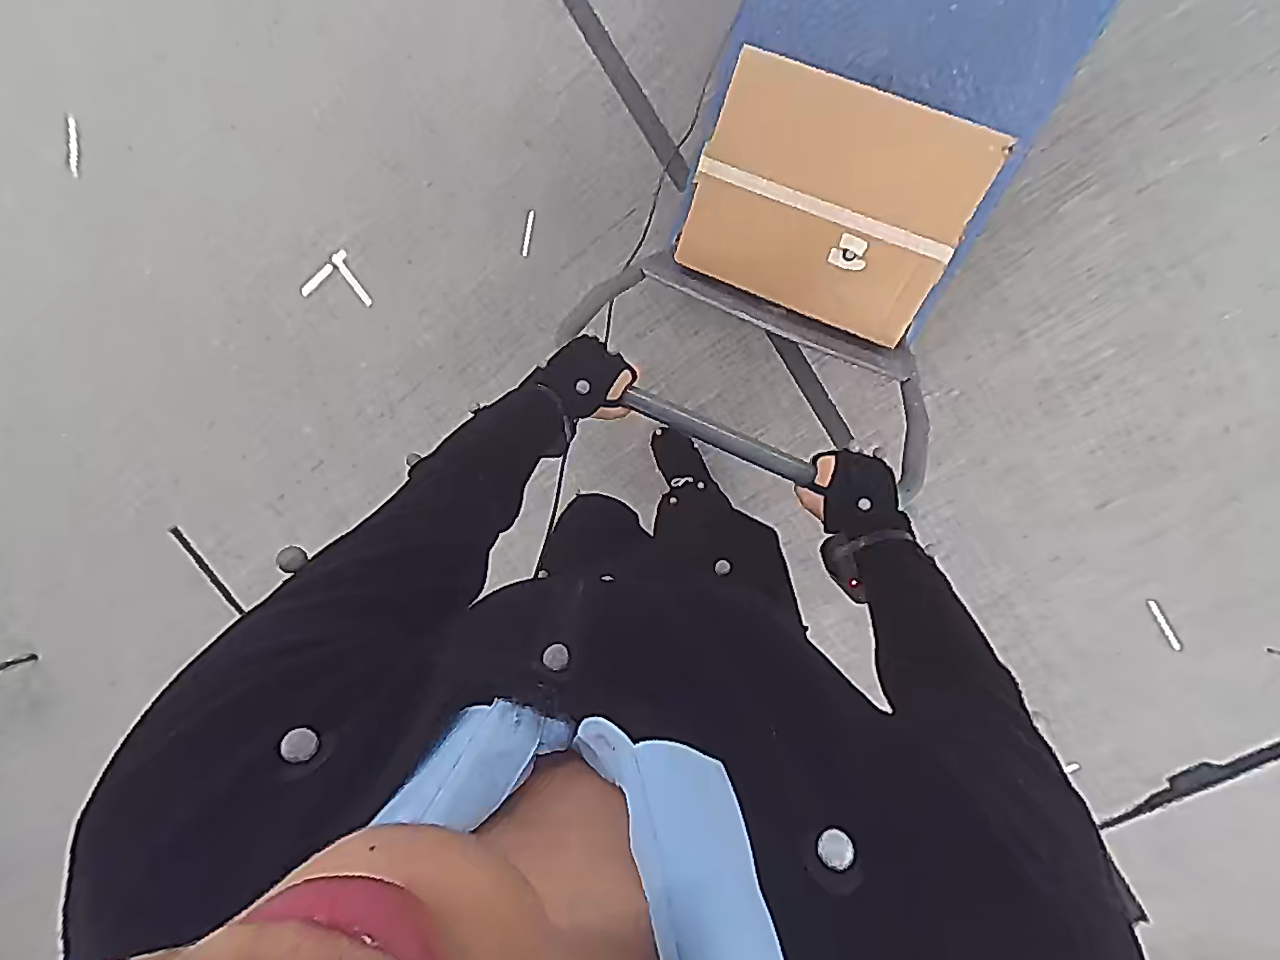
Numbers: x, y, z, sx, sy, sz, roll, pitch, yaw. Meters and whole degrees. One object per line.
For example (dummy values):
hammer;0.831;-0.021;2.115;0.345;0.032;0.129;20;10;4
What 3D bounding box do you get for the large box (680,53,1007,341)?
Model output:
large box;0.333;-0.499;0.980;0.408;0.320;0.320;24;123;5
